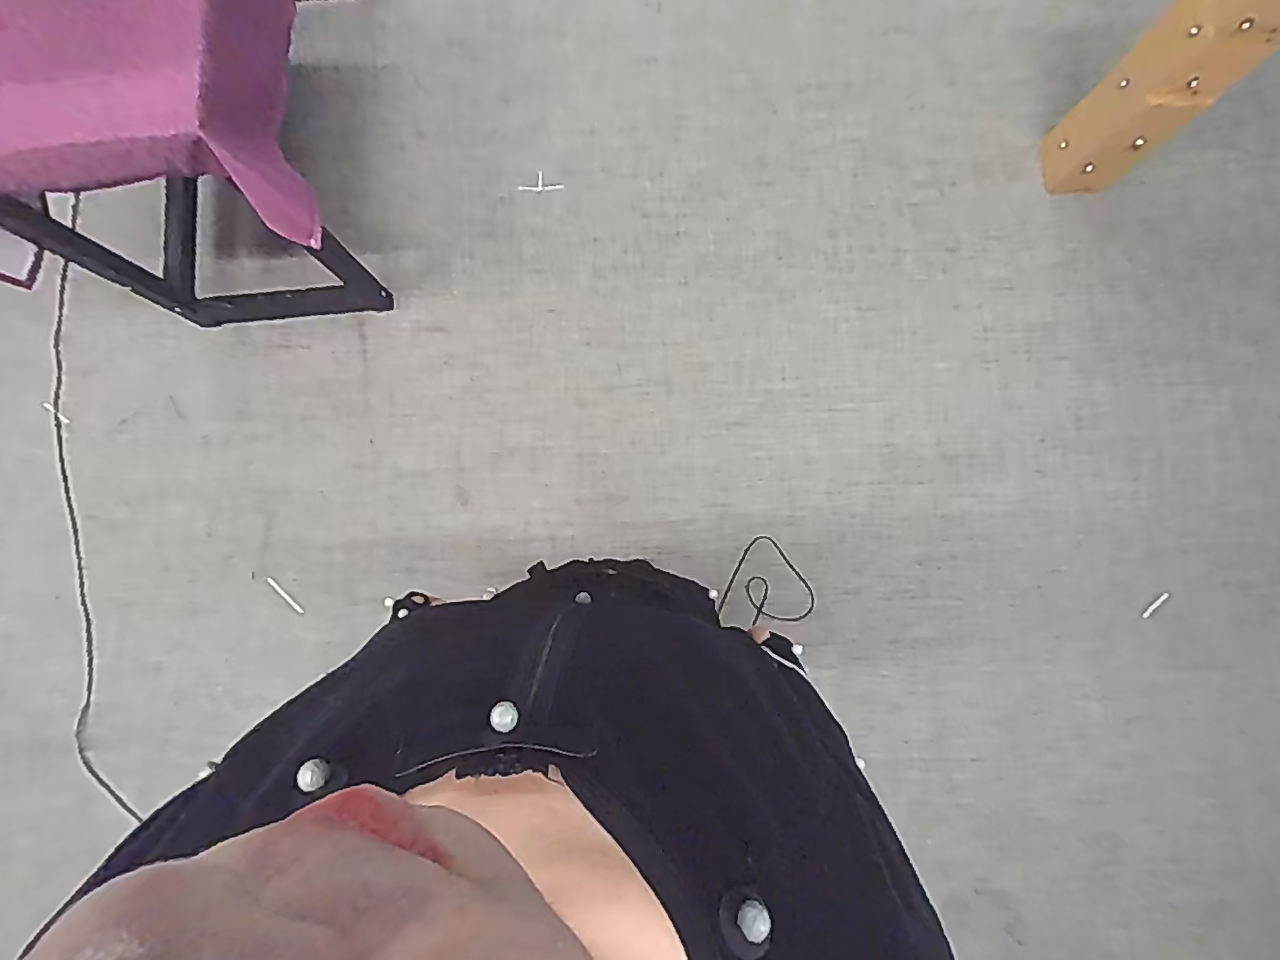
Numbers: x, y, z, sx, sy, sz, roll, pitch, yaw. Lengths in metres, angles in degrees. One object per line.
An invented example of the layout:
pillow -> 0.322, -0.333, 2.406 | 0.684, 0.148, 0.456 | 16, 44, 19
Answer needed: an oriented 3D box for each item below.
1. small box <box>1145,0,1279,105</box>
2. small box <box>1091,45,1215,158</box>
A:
small box -> 1.322, -1.014, 1.249 | 0.168, 0.176, 0.179 | 5, 83, 1
small box -> 1.324, -0.980, 1.408 | 0.168, 0.176, 0.179 | 2, 82, 2
